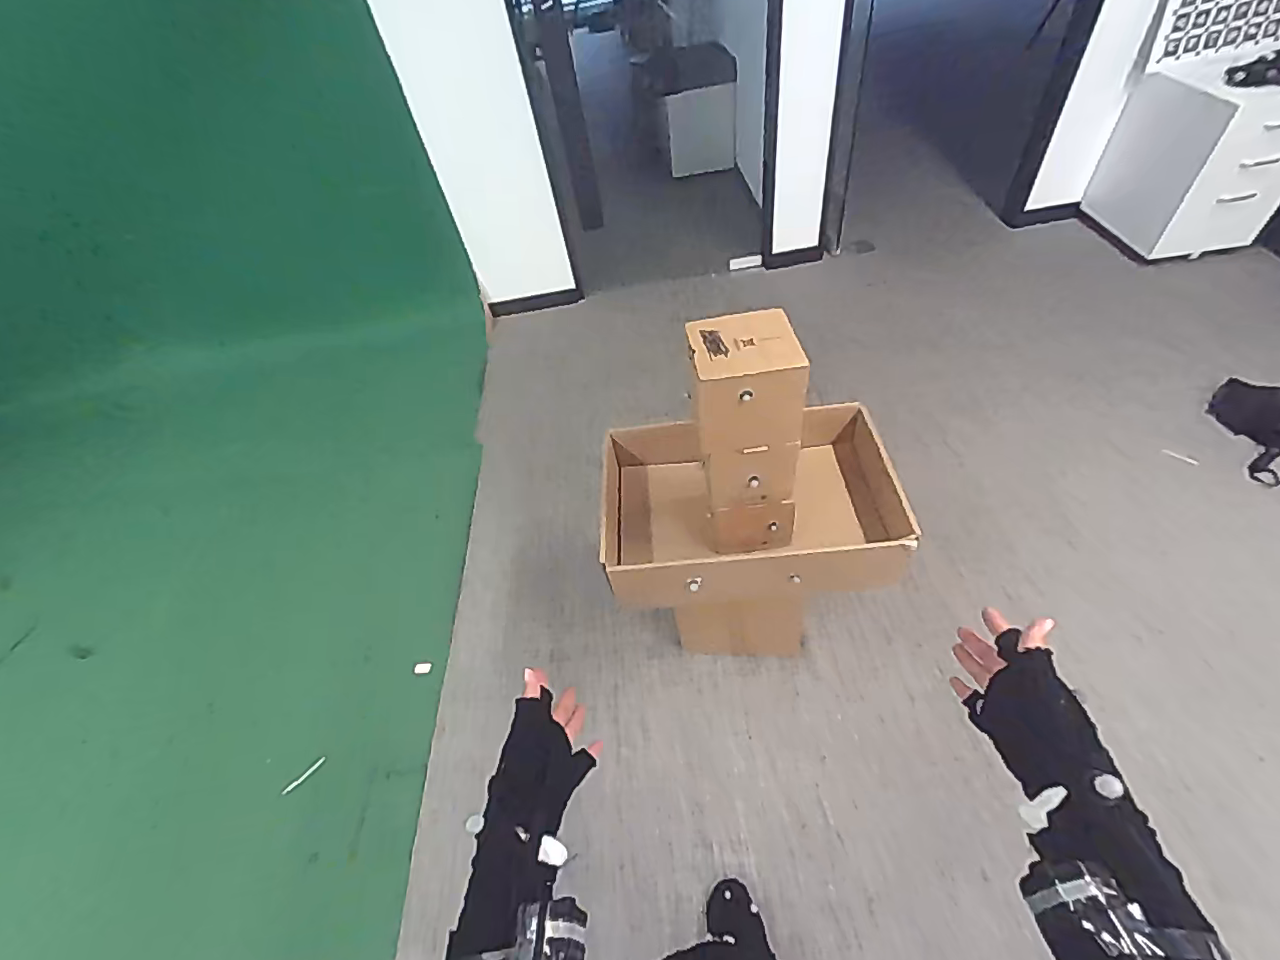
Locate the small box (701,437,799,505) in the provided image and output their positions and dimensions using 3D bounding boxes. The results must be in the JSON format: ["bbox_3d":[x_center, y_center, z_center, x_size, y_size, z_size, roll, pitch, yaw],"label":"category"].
[{"bbox_3d":[0.212,-0.063,1.080,0.168,0.176,0.179,-7,50,3],"label":"small box"}]

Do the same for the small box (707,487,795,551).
[{"bbox_3d":[0.240,0.044,1.201,0.168,0.176,0.179,-7,47,3],"label":"small box"}]

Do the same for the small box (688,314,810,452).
[{"bbox_3d":[0.185,-0.166,0.954,0.179,0.176,0.168,-8,49,2],"label":"small box"}]
